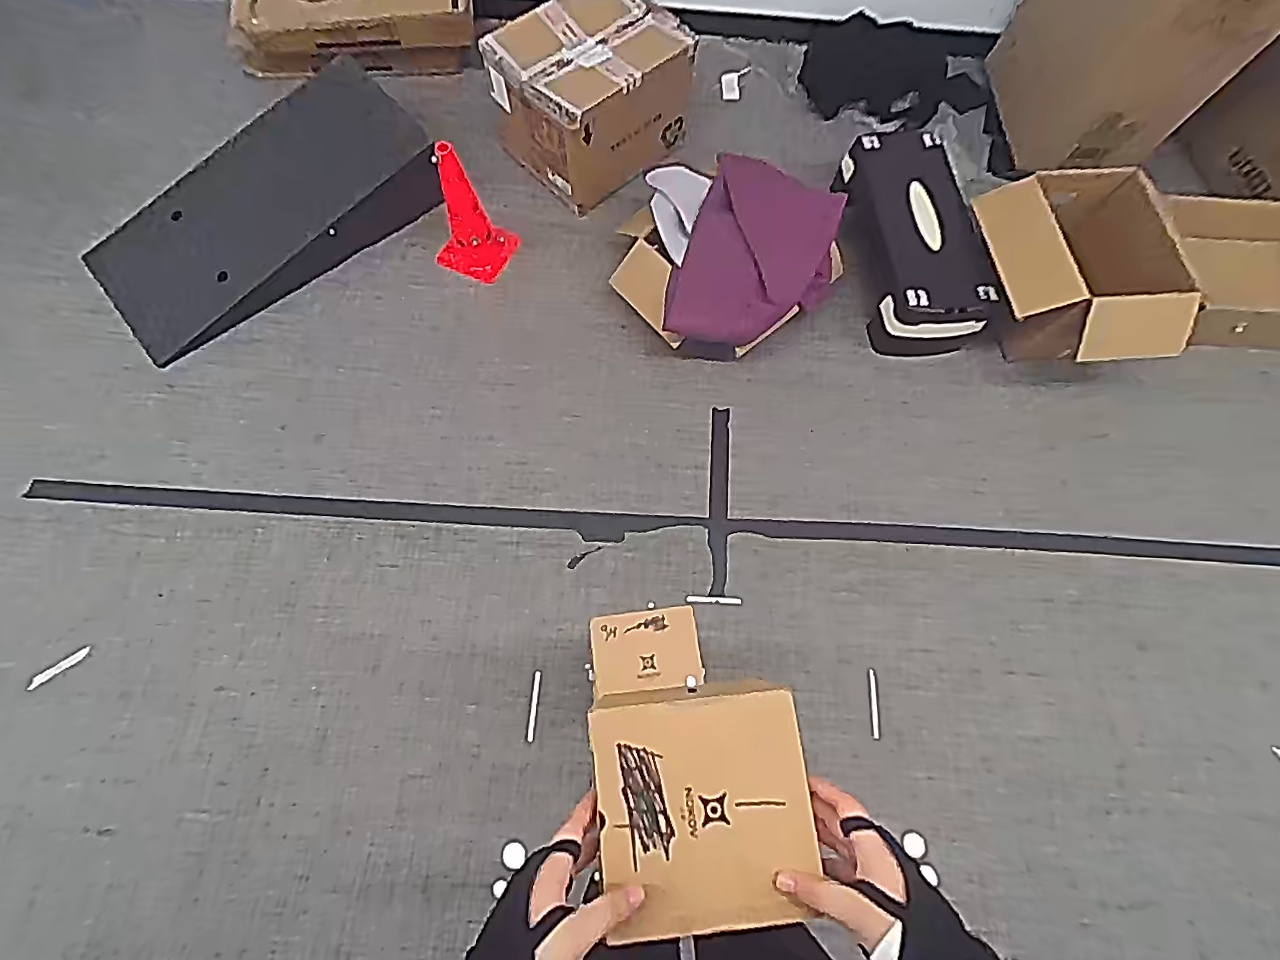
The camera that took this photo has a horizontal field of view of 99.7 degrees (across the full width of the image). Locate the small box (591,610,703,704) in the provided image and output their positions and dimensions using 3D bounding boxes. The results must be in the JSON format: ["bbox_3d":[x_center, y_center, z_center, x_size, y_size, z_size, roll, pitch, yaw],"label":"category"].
[{"bbox_3d":[0.012,0.318,0.896,0.168,0.176,0.179,-7,71,-3],"label":"small box"}]

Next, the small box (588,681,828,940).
[{"bbox_3d":[0.051,0.286,0.509,0.179,0.176,0.168,-6,73,-2],"label":"small box"}]
